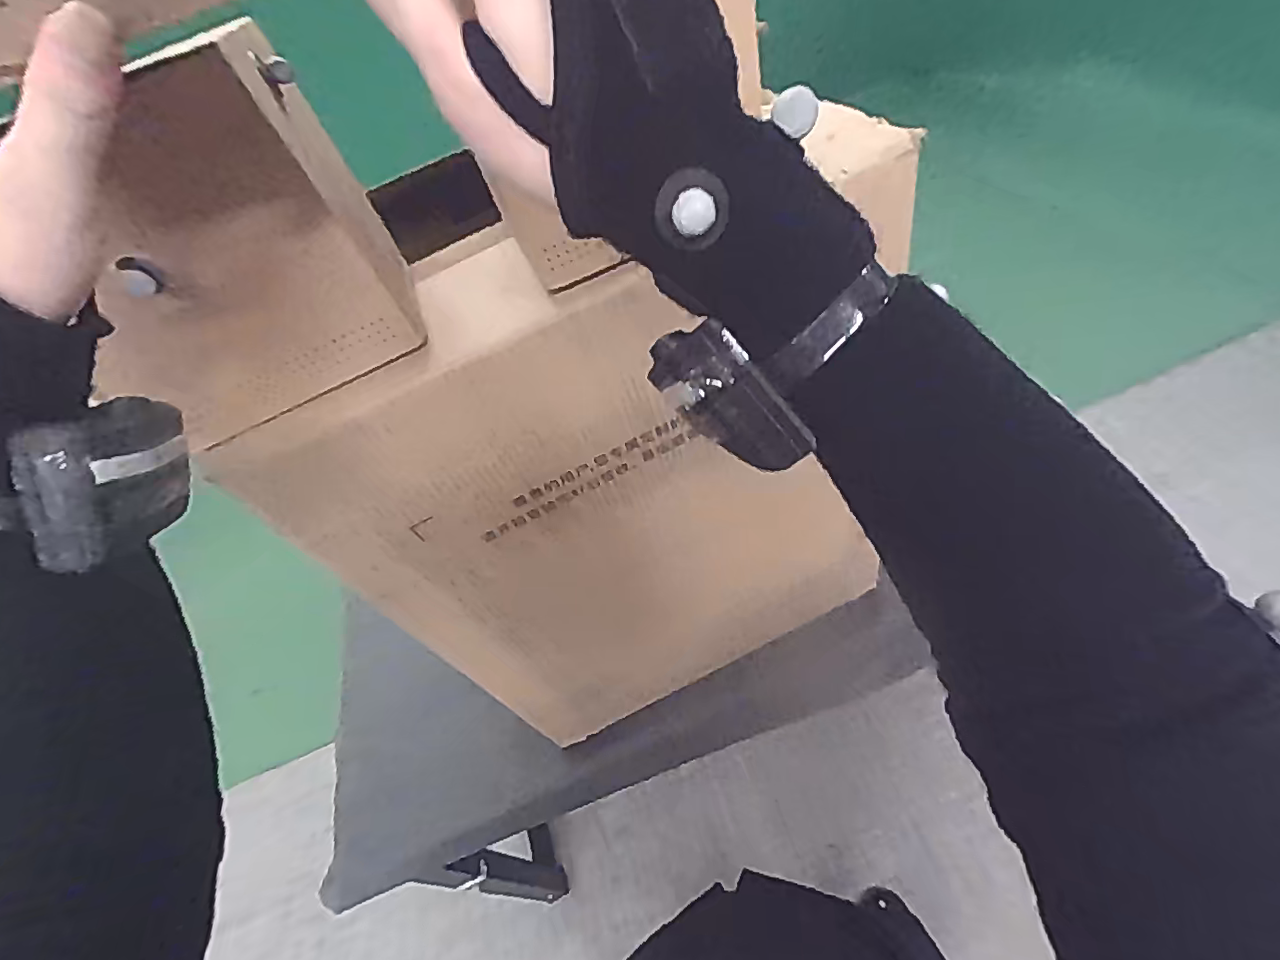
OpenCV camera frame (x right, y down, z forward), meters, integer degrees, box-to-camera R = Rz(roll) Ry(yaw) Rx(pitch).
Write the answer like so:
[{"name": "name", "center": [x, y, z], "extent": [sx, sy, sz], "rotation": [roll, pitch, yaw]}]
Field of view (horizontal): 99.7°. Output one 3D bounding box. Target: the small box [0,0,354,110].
[{"name": "small box", "center": [-0.160, -0.234, 0.113], "extent": [0.168, 0.176, 0.179], "rotation": [-16, 76, 7]}]
